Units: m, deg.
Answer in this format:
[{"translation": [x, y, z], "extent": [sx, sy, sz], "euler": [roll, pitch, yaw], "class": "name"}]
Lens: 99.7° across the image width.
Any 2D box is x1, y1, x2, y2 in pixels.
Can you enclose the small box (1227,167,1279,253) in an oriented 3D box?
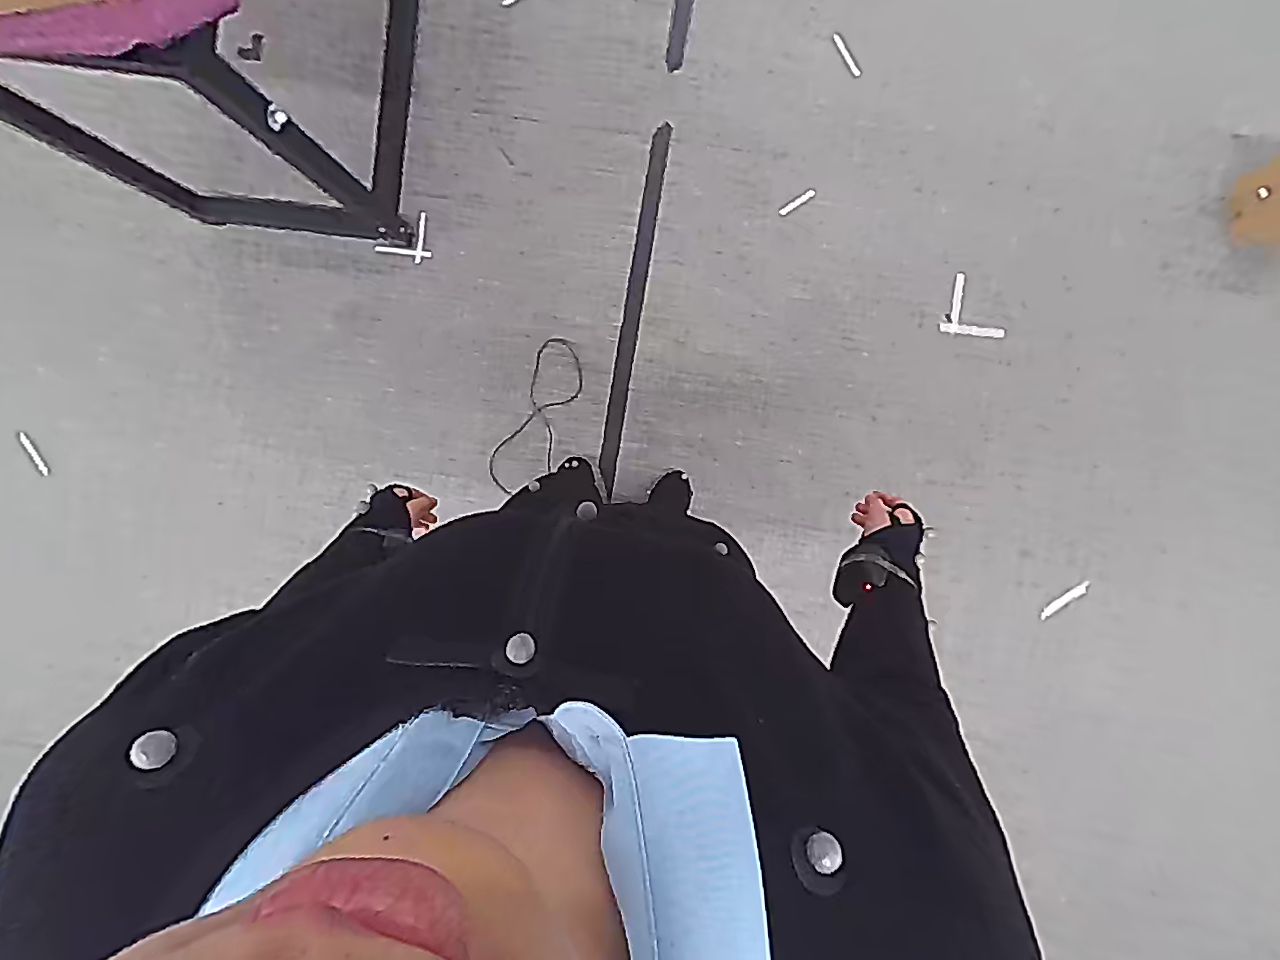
[{"translation": [1.649, -0.685, 1.355], "extent": [0.179, 0.176, 0.168], "euler": [7, 93, 0], "class": "small box"}]
